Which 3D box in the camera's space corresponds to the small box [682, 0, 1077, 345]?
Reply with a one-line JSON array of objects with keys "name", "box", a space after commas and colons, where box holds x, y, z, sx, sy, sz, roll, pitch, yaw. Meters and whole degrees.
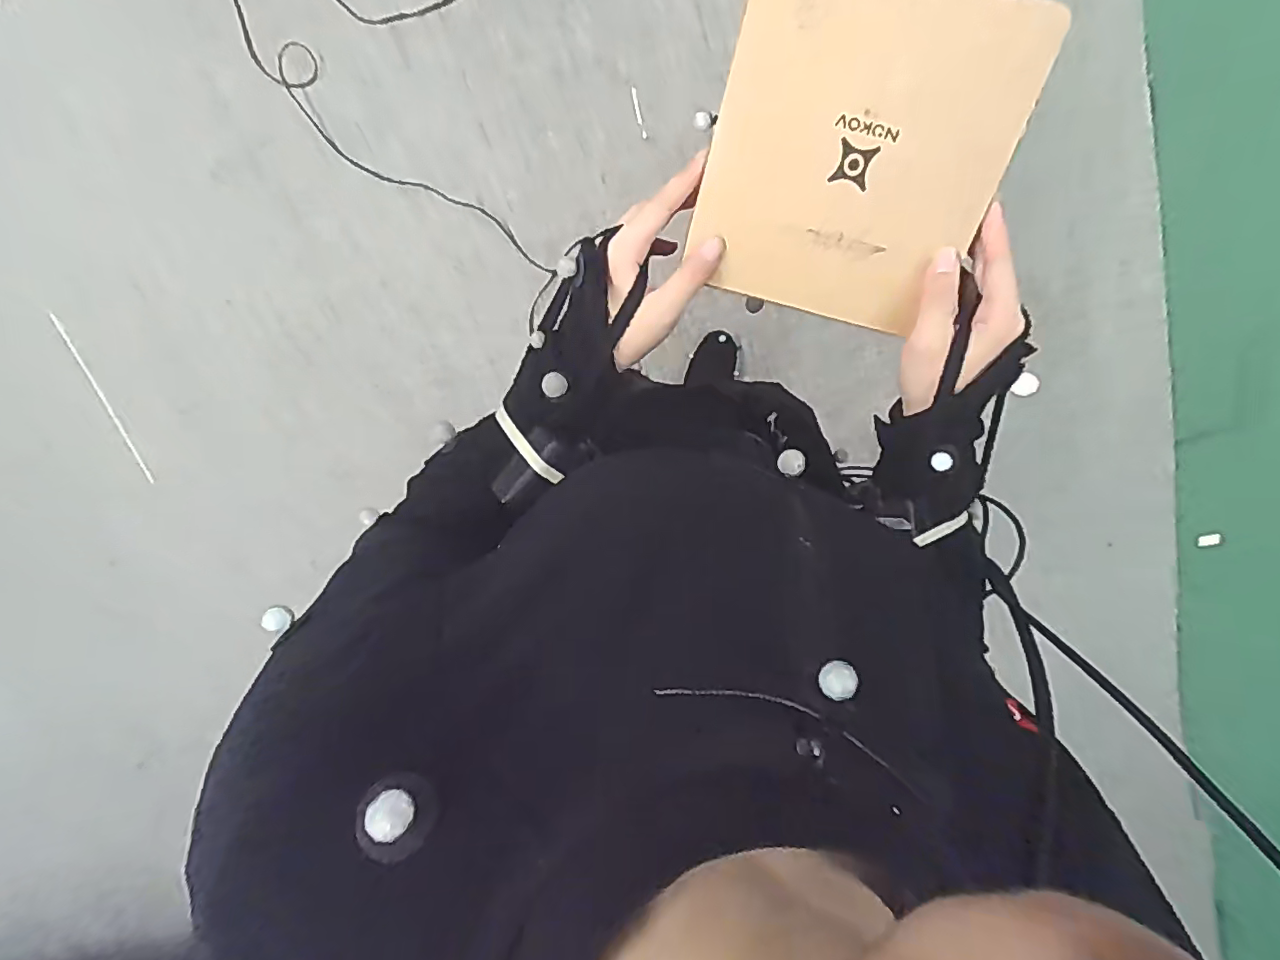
[{"name": "small box", "box": [0.128, -0.212, 0.375, 0.168, 0.176, 0.179, 14, 114, -1]}]
